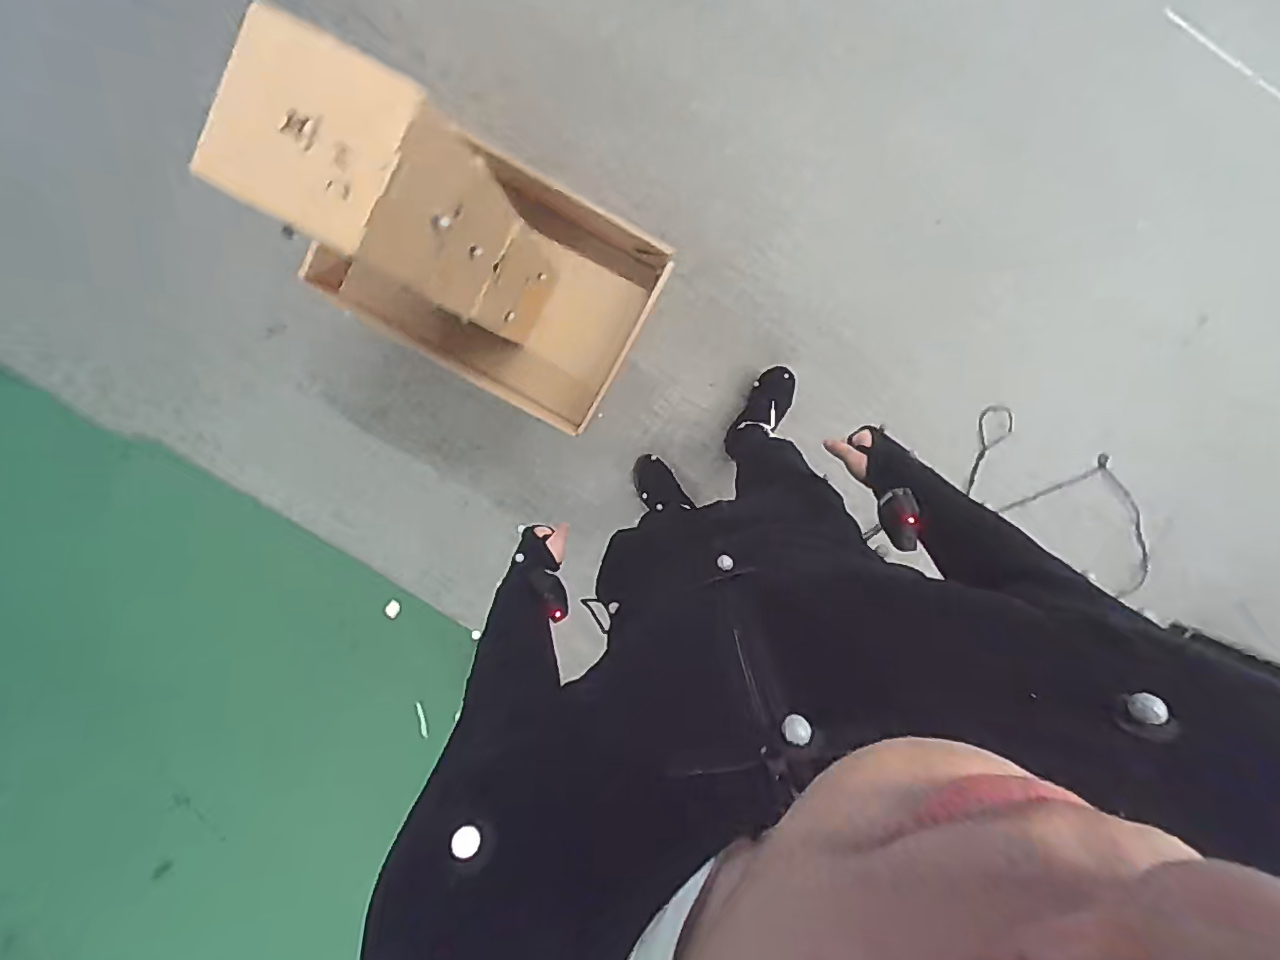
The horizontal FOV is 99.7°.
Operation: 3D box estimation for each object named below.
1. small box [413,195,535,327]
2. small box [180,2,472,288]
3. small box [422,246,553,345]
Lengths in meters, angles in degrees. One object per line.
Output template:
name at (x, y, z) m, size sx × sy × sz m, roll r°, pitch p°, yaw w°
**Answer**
small box at (-0.296, -0.370, 0.899) m, size 0.179 × 0.176 × 0.168 m, roll 29°, pitch 96°, yaw -1°
small box at (-0.311, -0.327, 0.573) m, size 0.179 × 0.176 × 0.168 m, roll 28°, pitch 97°, yaw -1°
small box at (-0.288, -0.385, 1.062) m, size 0.168 × 0.176 × 0.179 m, roll 28°, pitch 96°, yaw -1°
